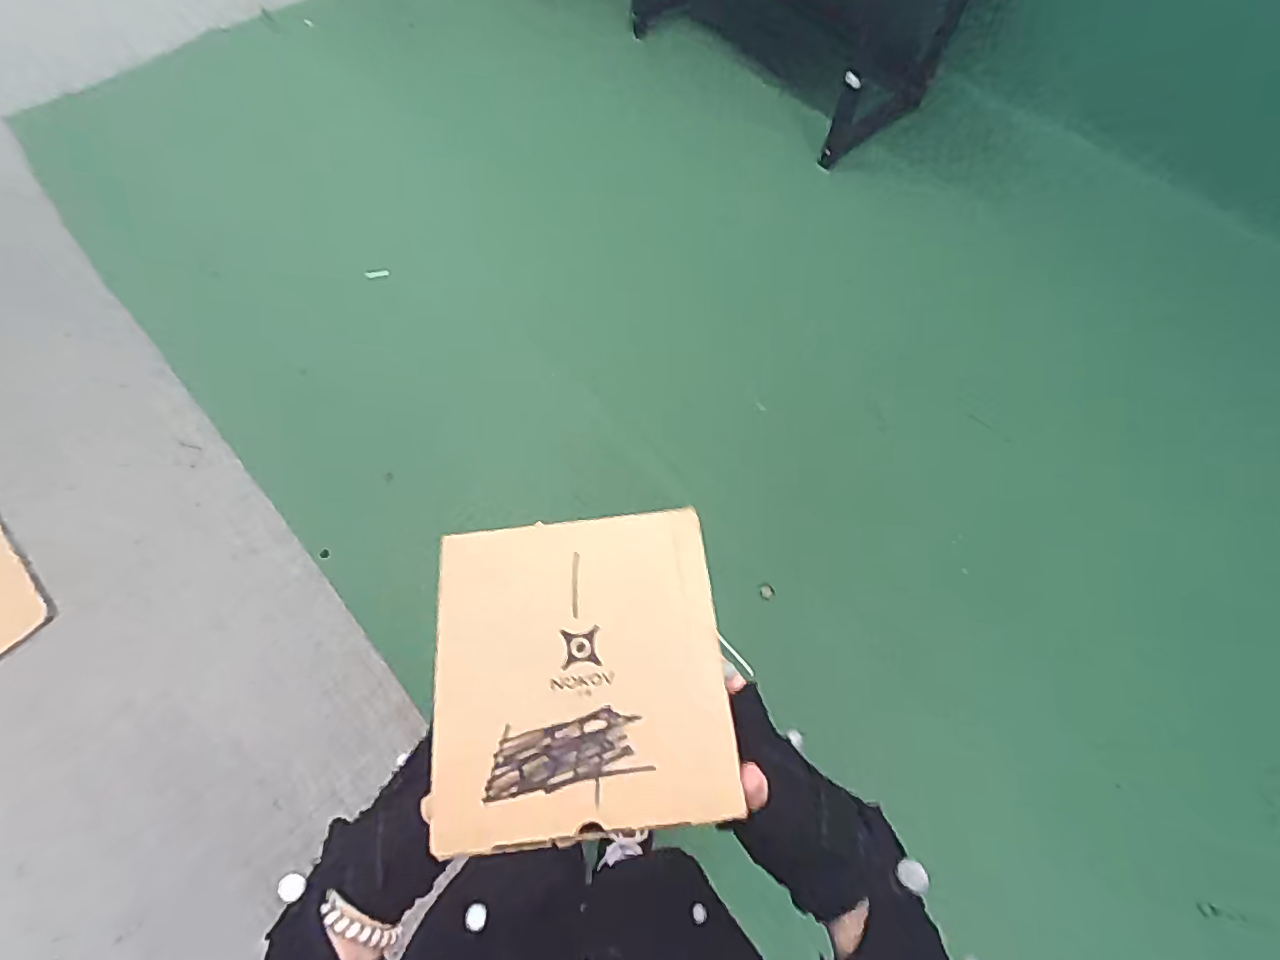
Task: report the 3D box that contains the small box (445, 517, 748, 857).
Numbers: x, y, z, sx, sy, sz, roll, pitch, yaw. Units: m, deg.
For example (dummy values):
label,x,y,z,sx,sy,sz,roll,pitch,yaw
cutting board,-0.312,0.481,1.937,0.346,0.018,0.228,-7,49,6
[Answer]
label,x,y,z,sx,sy,sz,roll,pitch,yaw
small box,-0.029,0.142,0.390,0.168,0.176,0.179,-5,66,-3
